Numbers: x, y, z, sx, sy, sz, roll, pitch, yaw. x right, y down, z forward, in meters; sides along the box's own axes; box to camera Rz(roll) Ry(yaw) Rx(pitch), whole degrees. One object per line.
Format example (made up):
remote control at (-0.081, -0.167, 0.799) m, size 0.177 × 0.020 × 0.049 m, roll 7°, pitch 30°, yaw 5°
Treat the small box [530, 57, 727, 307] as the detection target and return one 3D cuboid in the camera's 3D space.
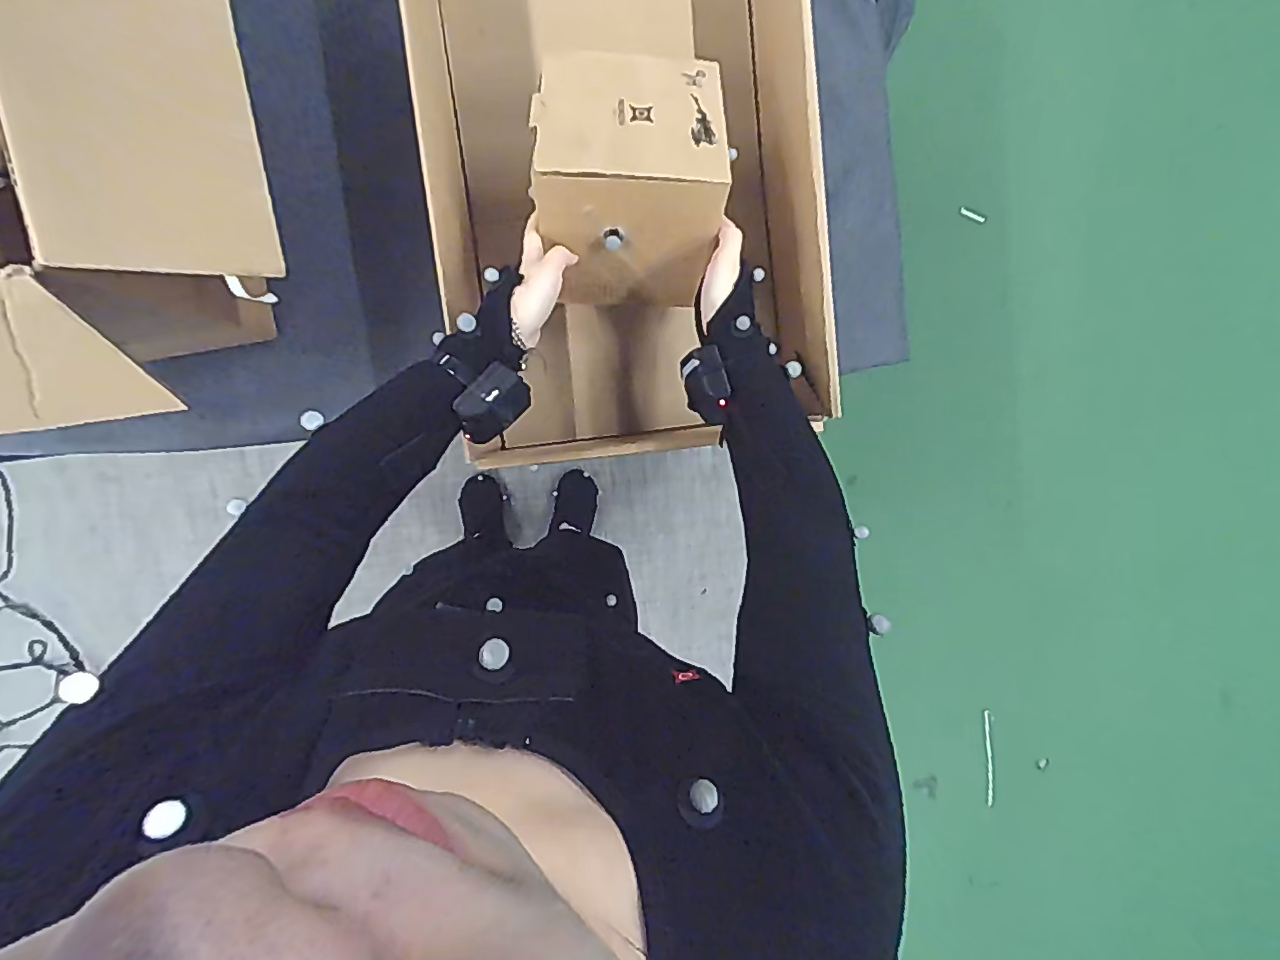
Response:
small box at (-0.013, -0.304, 0.575) m, size 0.179 × 0.176 × 0.168 m, roll 1°, pitch 69°, yaw -4°
